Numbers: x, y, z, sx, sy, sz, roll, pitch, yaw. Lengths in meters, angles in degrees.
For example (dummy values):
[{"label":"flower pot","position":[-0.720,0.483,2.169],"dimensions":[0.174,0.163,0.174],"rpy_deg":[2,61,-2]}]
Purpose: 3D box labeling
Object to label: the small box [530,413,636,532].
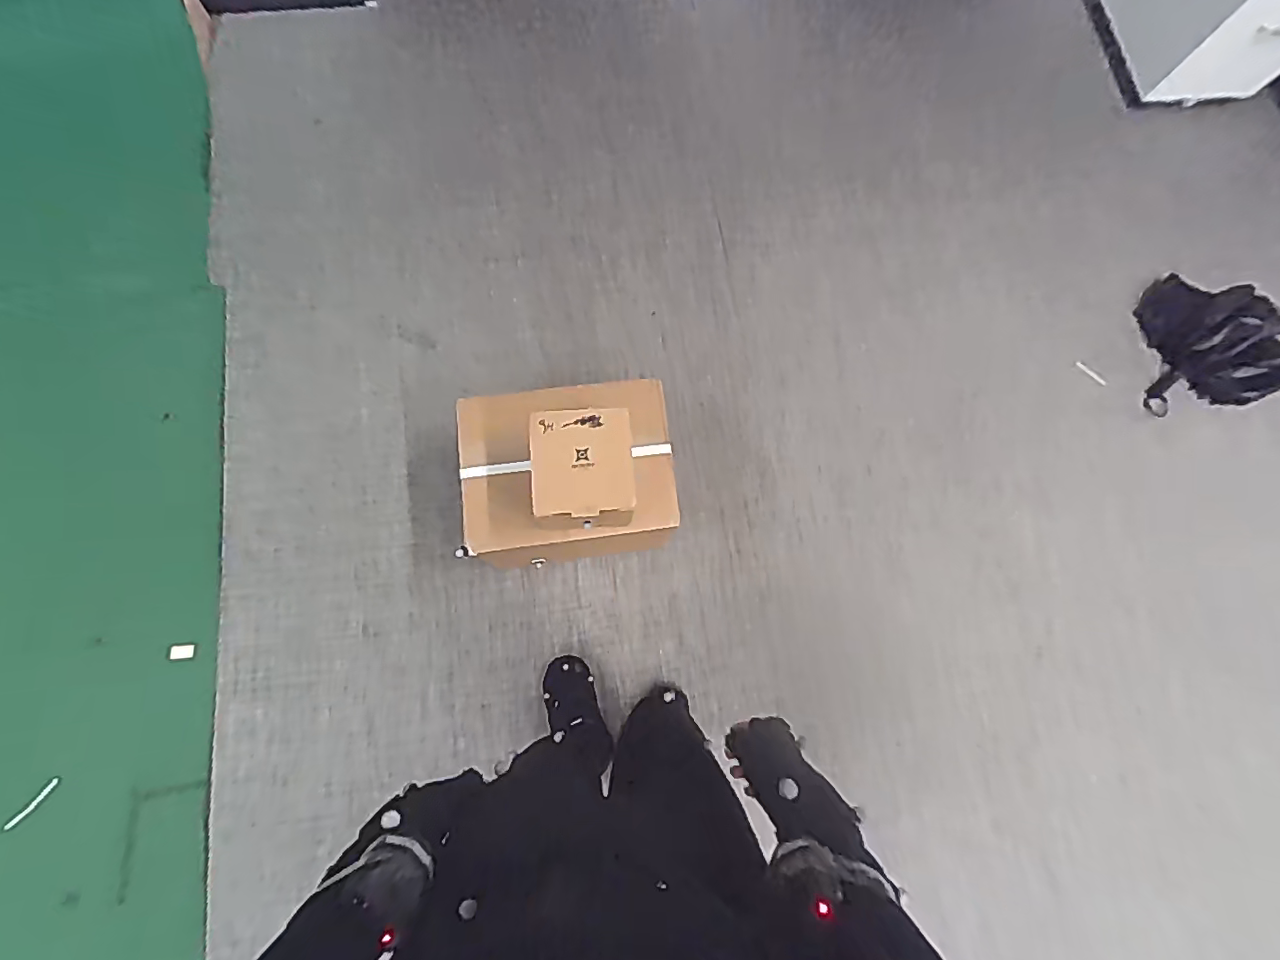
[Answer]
[{"label":"small box","position":[-0.095,-0.005,0.951],"dimensions":[0.168,0.176,0.179],"rpy_deg":[-5,78,-4]}]
